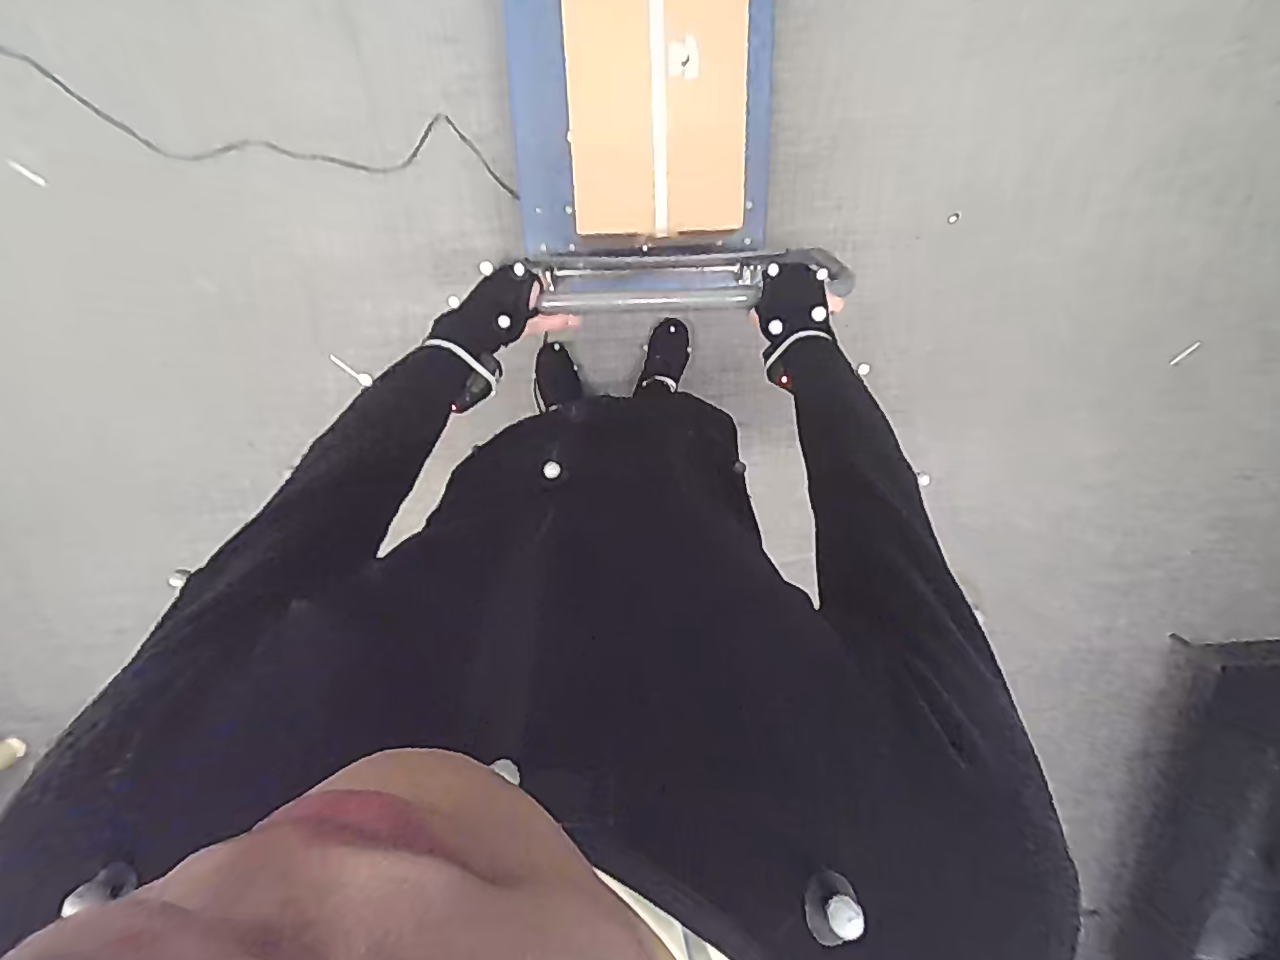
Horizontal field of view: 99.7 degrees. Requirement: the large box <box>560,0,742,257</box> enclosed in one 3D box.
[{"bbox_3d":[0.026,-0.692,1.105,0.320,0.320,0.408,-3,108,-1],"label":"large box"}]
